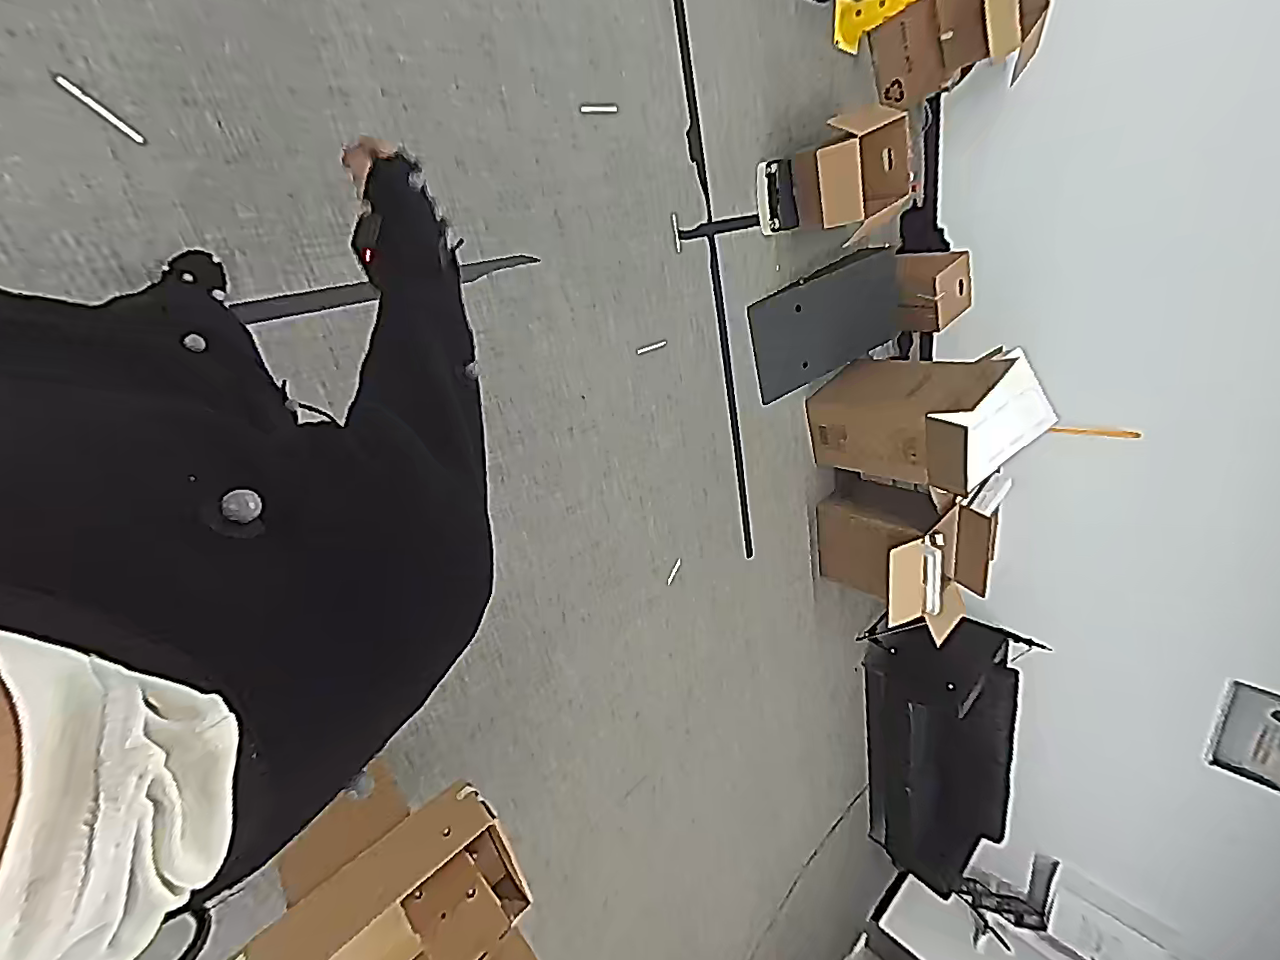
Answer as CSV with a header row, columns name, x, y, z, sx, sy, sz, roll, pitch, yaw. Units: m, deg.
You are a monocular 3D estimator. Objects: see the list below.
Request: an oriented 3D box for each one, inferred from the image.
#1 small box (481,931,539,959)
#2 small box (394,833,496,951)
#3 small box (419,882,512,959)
name,x,y,z,sx,sy,sz,roll,pitch,yaw
small box,-0.276,1.149,1.180,0.168,0.176,0.179,-35,124,-31
small box,-0.510,1.076,1.399,0.179,0.176,0.168,-35,124,-31
small box,-0.397,1.113,1.288,0.168,0.176,0.179,-33,123,-32
